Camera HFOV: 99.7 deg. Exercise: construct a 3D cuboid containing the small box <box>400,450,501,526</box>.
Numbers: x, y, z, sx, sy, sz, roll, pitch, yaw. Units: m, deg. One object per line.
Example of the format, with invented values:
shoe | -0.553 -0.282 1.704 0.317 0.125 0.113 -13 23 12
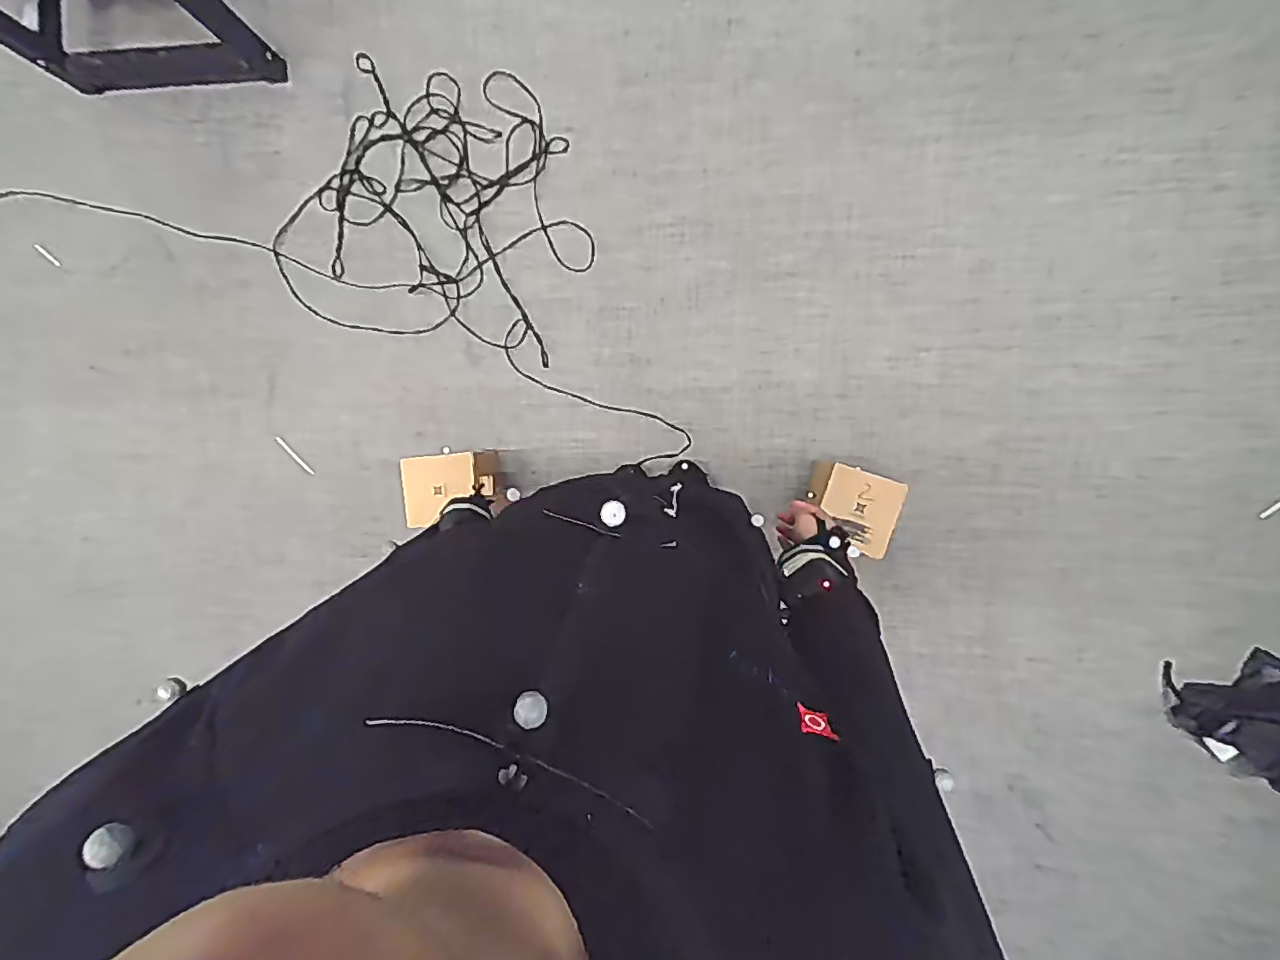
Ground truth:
small box | -0.455 0.019 1.315 0.179 0.176 0.168 -5 92 3
